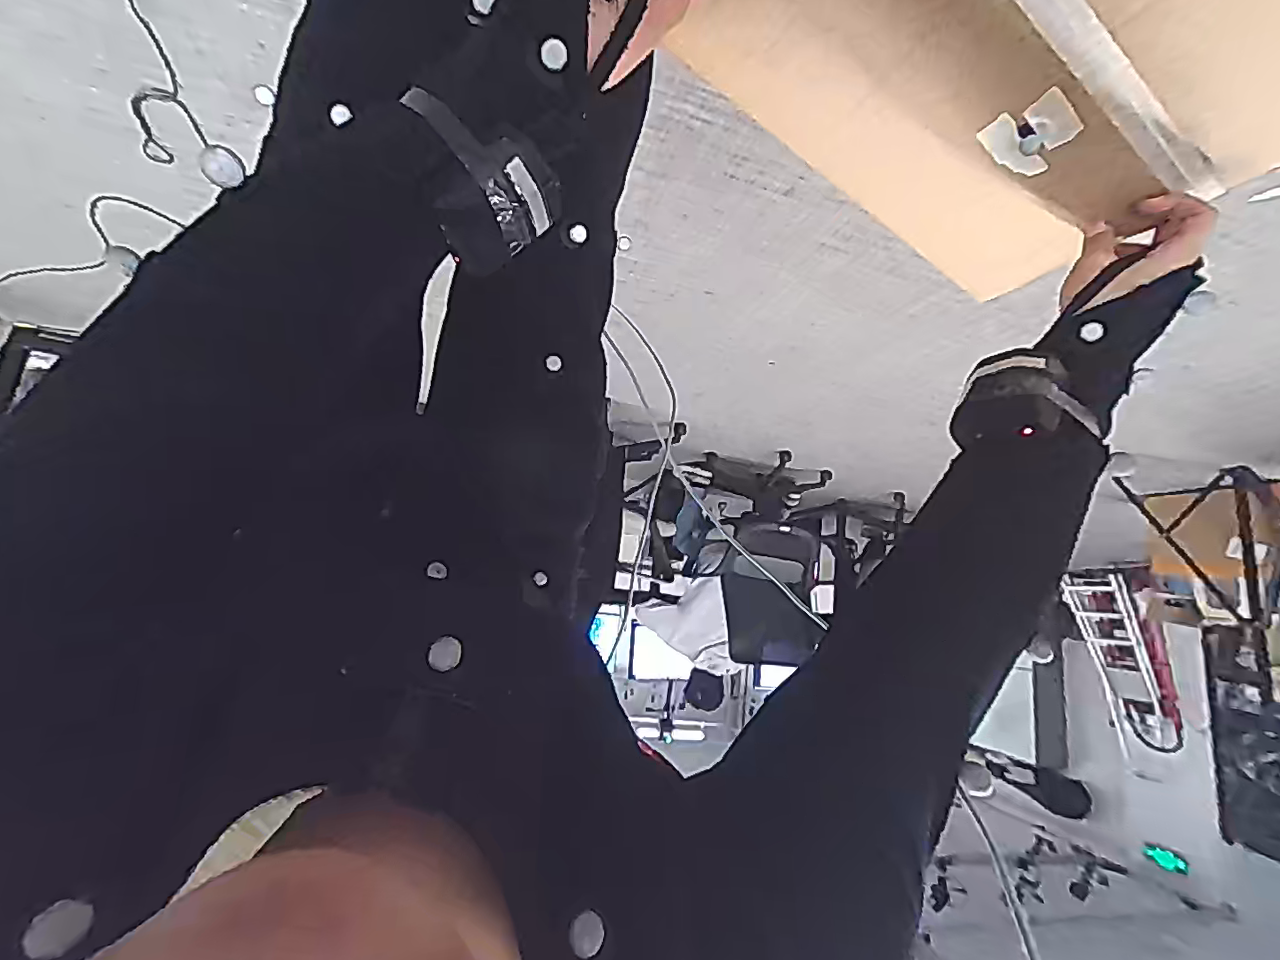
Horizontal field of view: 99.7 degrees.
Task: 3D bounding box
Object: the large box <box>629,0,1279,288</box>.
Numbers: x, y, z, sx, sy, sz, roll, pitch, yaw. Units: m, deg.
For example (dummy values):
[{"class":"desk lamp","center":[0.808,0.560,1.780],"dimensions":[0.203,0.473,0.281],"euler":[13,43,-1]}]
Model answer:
[{"class":"large box","center":[0.257,-0.409,0.351],"dimensions":[0.408,0.320,0.320],"euler":[20,161,-25]}]
